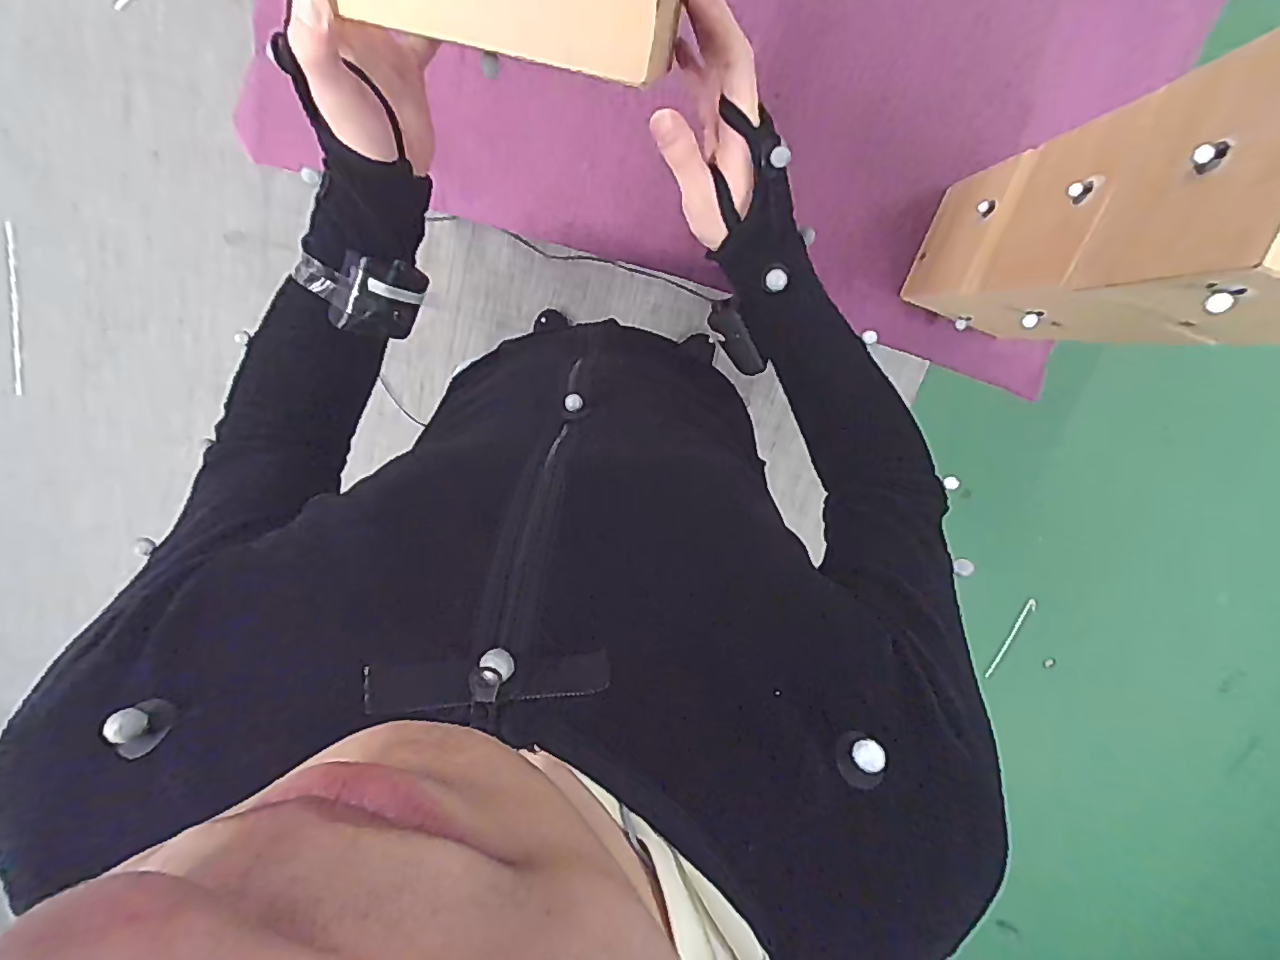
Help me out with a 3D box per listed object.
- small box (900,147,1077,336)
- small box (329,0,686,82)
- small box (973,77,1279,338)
[{"bbox_3d":[0.493,-0.304,0.721,0.179,0.176,0.168,19,105,-6],"label":"small box"},{"bbox_3d":[-0.055,-0.336,0.290,0.179,0.176,0.168,12,130,-2],"label":"small box"},{"bbox_3d":[0.496,-0.261,0.563,0.168,0.176,0.179,19,106,-4],"label":"small box"}]
